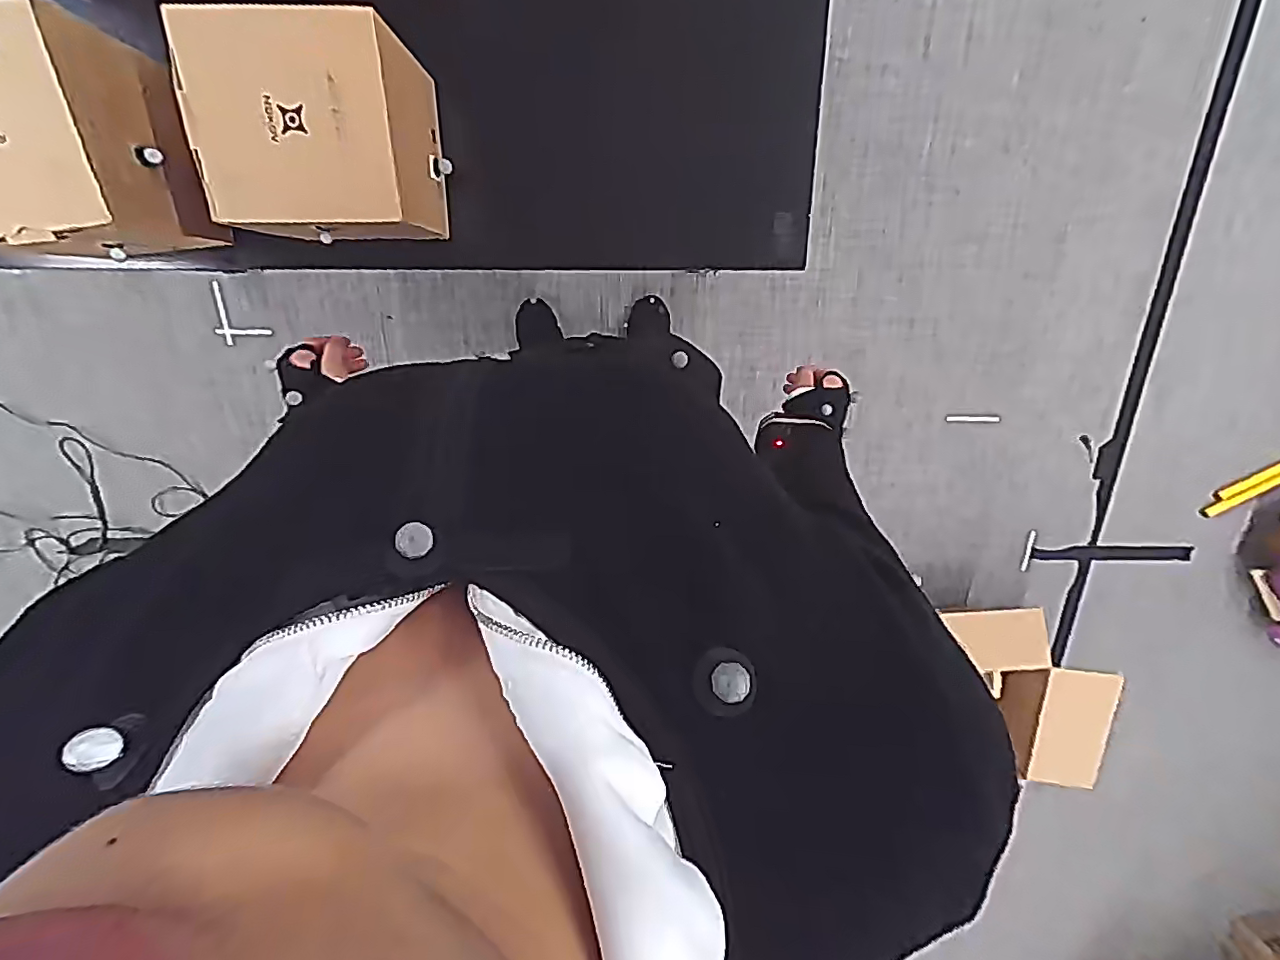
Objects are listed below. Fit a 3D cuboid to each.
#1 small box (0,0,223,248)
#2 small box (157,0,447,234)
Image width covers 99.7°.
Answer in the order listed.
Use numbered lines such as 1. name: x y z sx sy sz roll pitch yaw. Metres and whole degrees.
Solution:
1. small box: -0.572 -0.333 0.540 0.168 0.176 0.179 -6 109 0
2. small box: -0.315 -0.347 0.548 0.179 0.176 0.168 -2 110 -3
